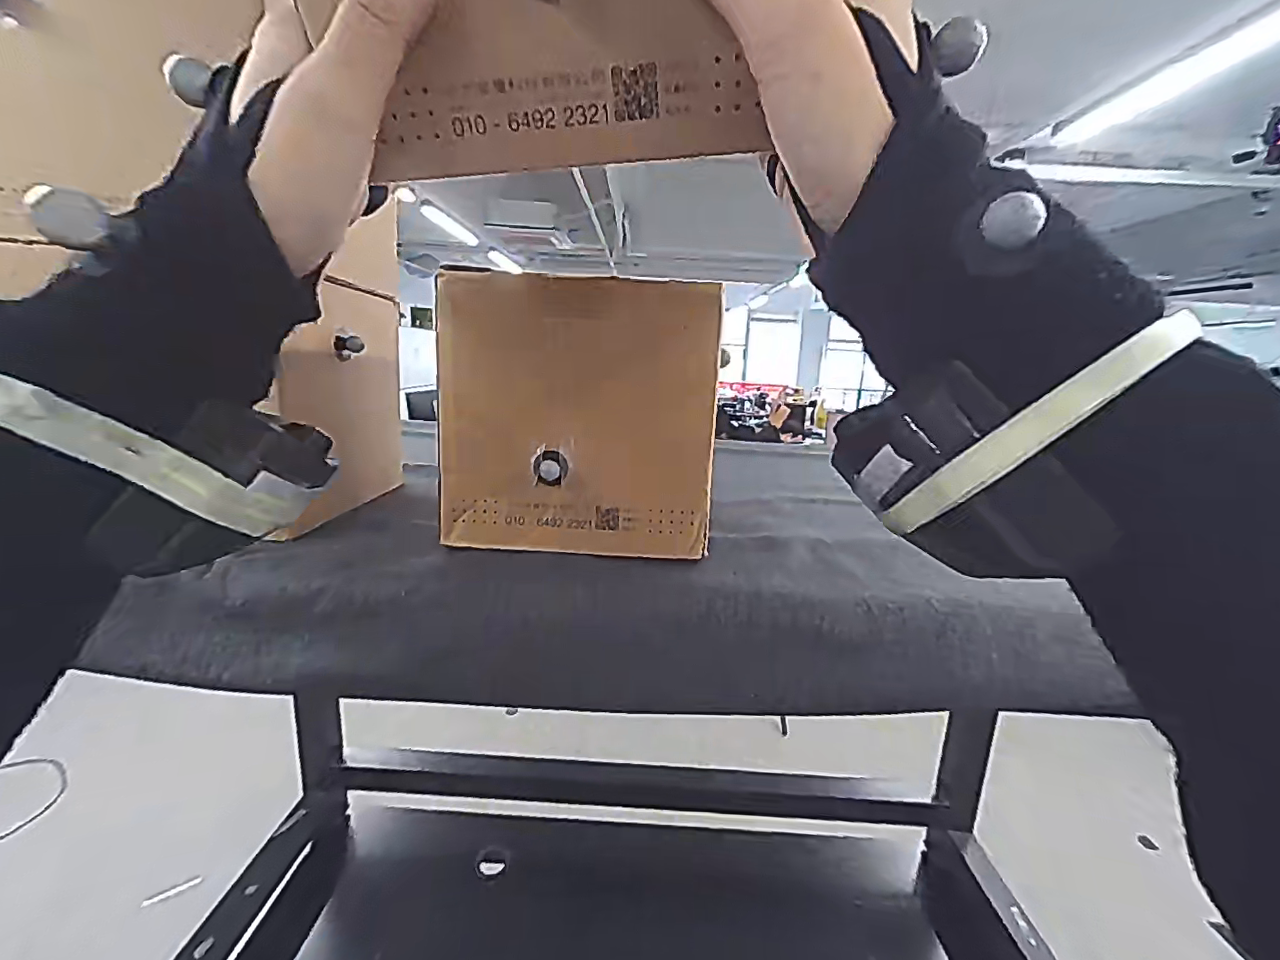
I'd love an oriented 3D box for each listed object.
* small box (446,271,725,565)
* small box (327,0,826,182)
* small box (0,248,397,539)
[{"bbox_3d":[-0.035,-0.047,0.404,0.168,0.176,0.179,3,11,0],"label":"small box"},{"bbox_3d":[-0.022,-0.224,0.214,0.168,0.176,0.179,-2,36,6],"label":"small box"},{"bbox_3d":[-0.292,-0.059,0.399,0.168,0.176,0.179,3,10,-2],"label":"small box"}]
